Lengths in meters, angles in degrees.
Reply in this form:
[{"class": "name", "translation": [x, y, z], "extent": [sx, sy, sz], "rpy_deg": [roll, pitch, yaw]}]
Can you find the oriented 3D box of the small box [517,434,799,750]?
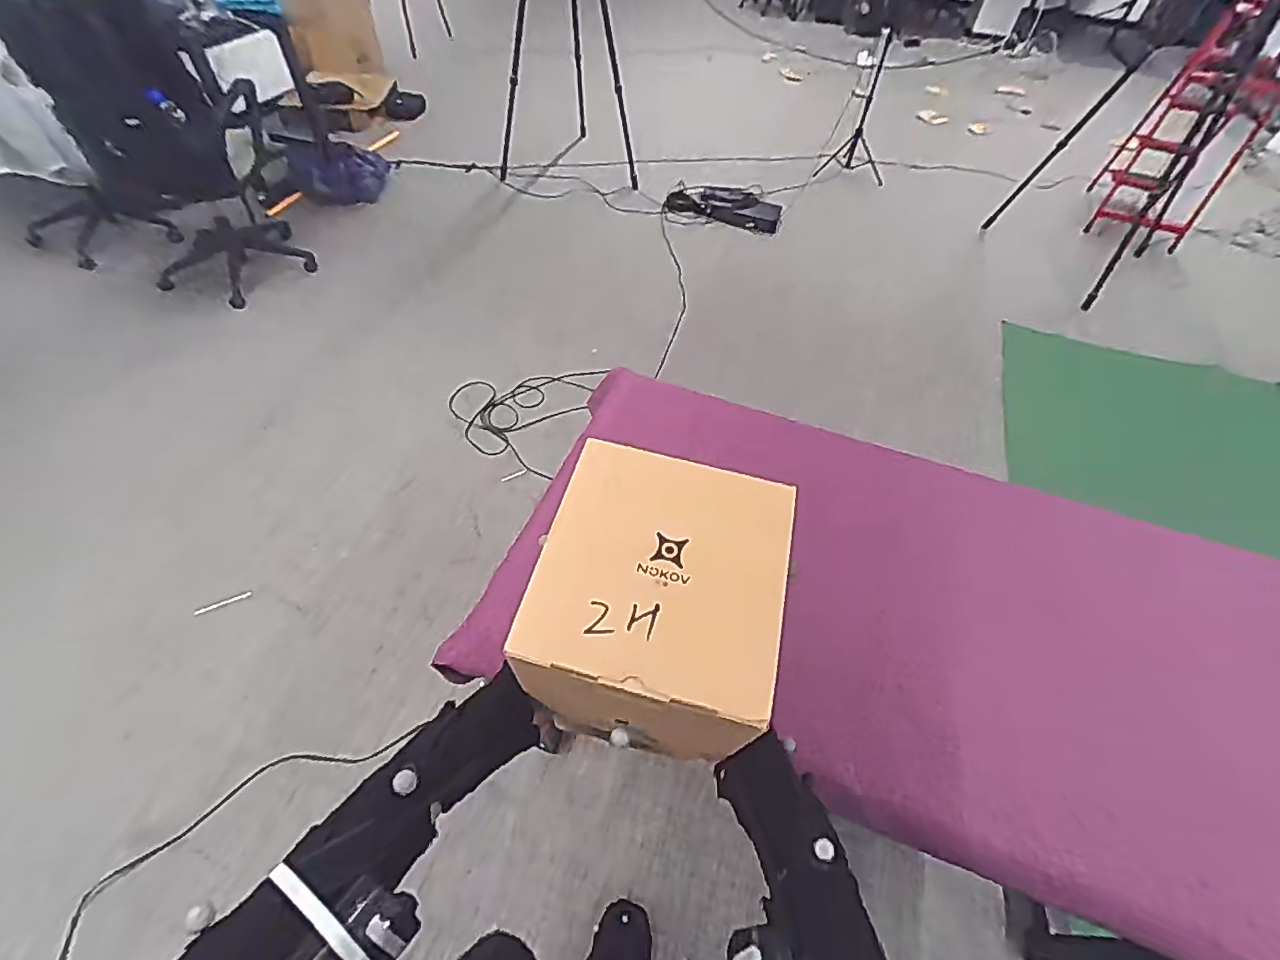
[{"class": "small box", "translation": [0.017, 0.095, 0.436], "extent": [0.168, 0.176, 0.179], "rpy_deg": [14, 57, 6]}]
